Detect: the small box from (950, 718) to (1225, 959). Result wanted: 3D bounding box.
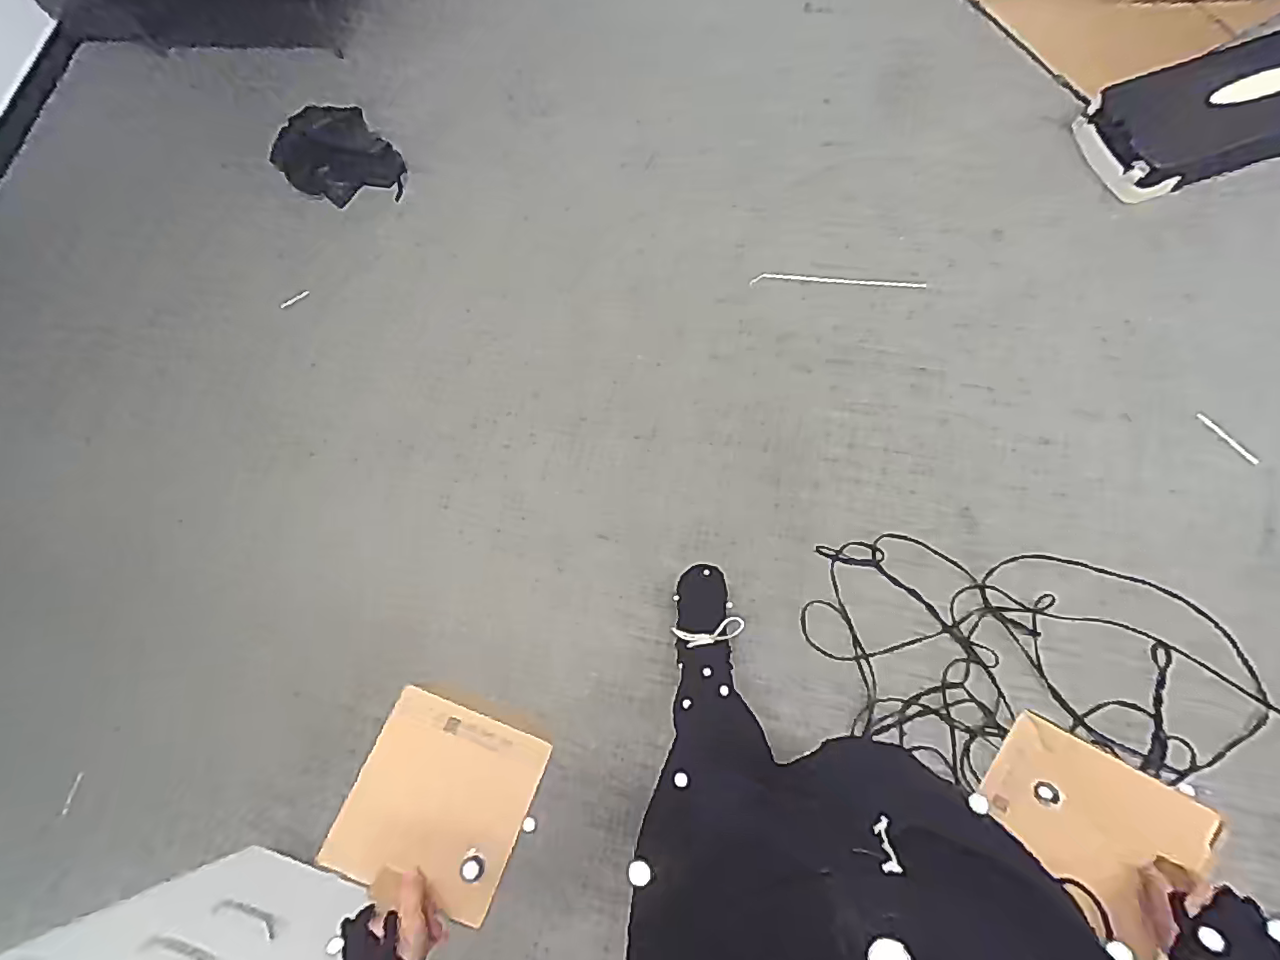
[{"bbox_3d":[0.479,0.392,0.588,0.168,0.179,0.176,-55,35,-5],"label":"small box"}]
